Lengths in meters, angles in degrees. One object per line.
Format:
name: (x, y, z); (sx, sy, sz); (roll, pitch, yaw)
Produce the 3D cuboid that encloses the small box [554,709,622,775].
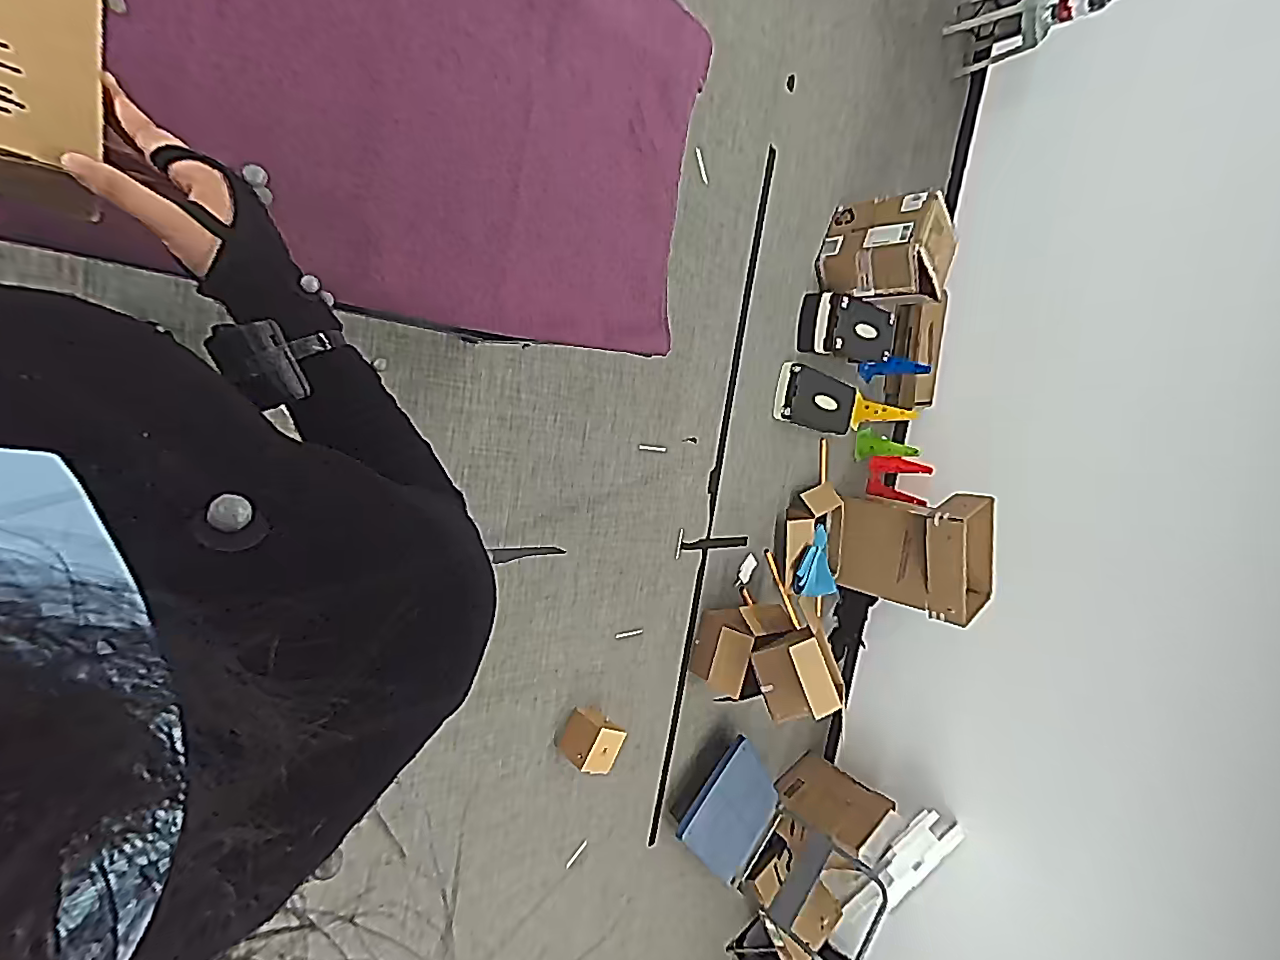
small box: (-0.211, 1.036, 2.148); (0.168, 0.176, 0.179); (38, 75, -44)
